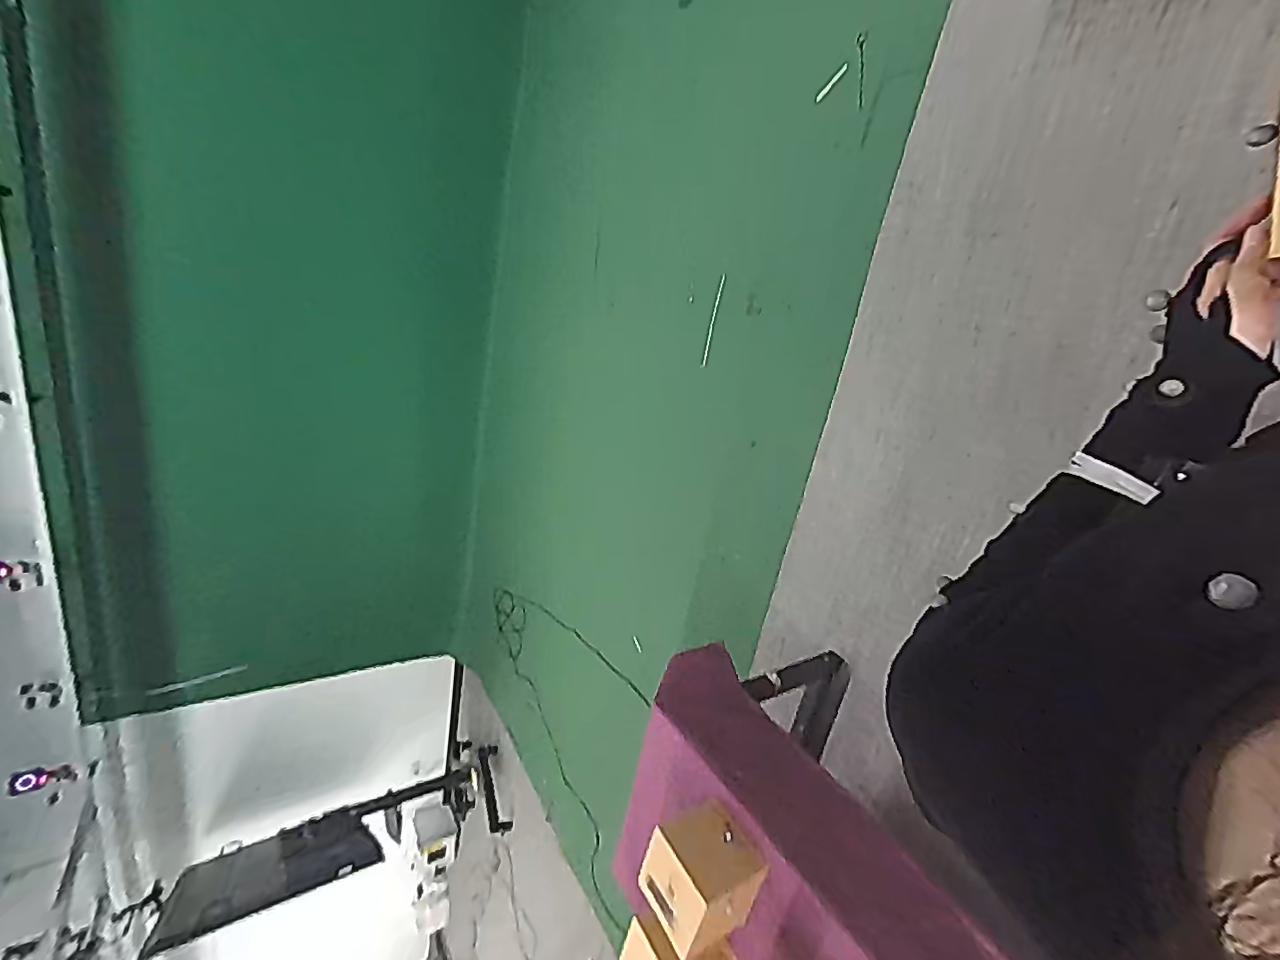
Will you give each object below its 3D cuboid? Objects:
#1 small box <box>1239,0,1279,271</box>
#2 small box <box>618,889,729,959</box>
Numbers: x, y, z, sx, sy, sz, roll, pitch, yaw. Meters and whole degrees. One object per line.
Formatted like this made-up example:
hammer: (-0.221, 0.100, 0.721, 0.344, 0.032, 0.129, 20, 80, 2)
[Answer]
small box: (0.453, -0.213, 0.276, 0.179, 0.176, 0.168, 8, 104, 50)
small box: (0.076, 1.054, 1.184, 0.168, 0.176, 0.179, 38, 122, 48)
